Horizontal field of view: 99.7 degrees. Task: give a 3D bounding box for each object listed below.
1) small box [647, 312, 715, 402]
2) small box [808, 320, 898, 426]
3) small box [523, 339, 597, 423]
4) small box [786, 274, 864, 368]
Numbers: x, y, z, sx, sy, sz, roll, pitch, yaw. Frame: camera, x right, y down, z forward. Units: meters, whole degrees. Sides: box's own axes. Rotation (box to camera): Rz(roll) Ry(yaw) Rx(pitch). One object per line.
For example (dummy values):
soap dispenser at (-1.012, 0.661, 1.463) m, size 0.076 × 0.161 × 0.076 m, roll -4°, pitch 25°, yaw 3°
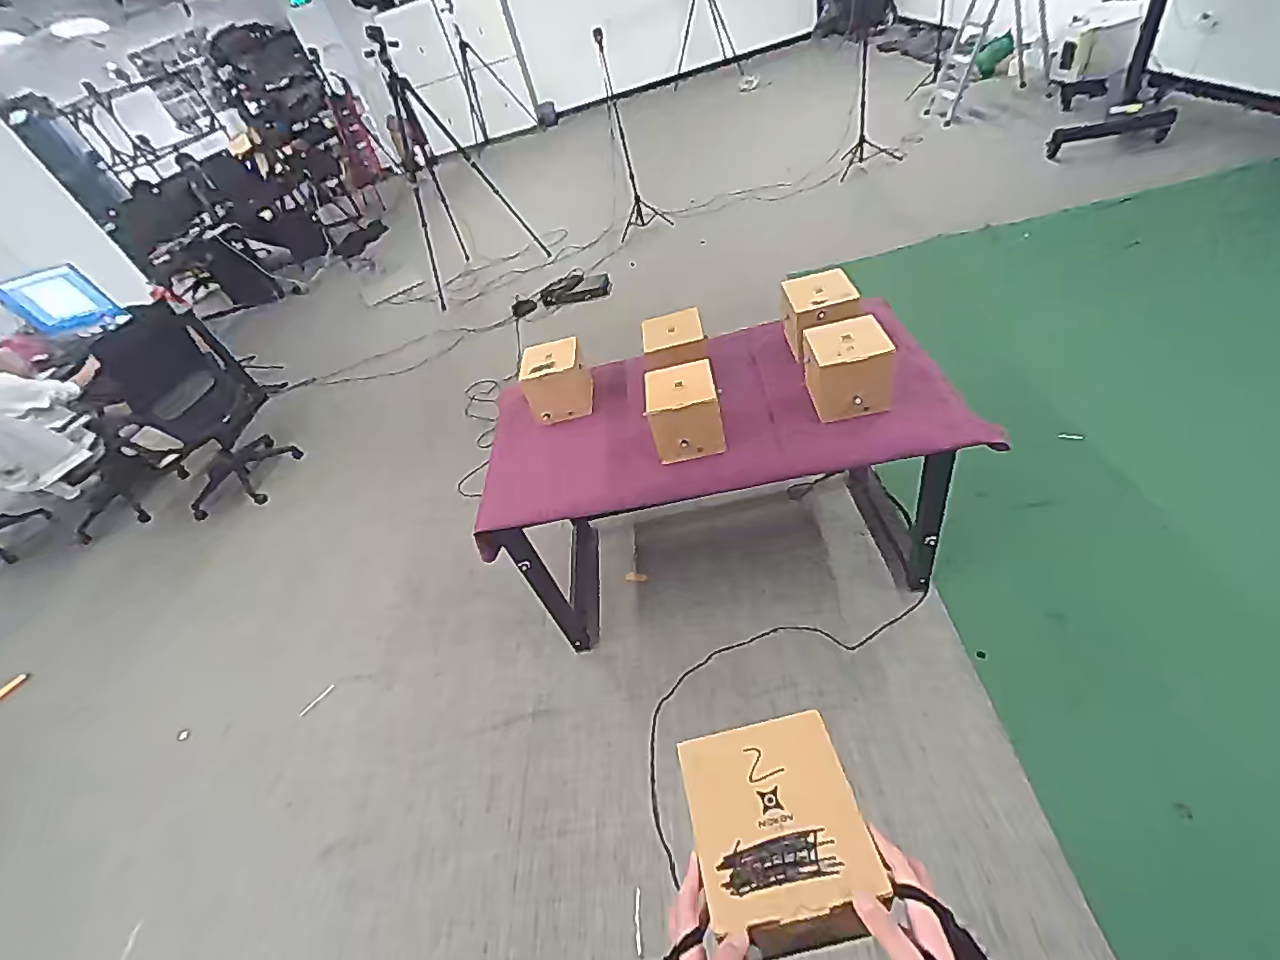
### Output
small box at (0.117, -0.351, 1.552) m, size 0.168 × 0.176 × 0.179 m, roll -11°, pitch 44°, yaw 10°
small box at (0.507, -0.257, 1.307) m, size 0.168 × 0.176 × 0.179 m, roll -11°, pitch 42°, yaw 11°
small box at (-0.231, -0.287, 1.607) m, size 0.168 × 0.176 × 0.179 m, roll -11°, pitch 43°, yaw 8°
small box at (0.507, -0.438, 1.497) m, size 0.168 × 0.176 × 0.179 m, roll -12°, pitch 44°, yaw 9°
